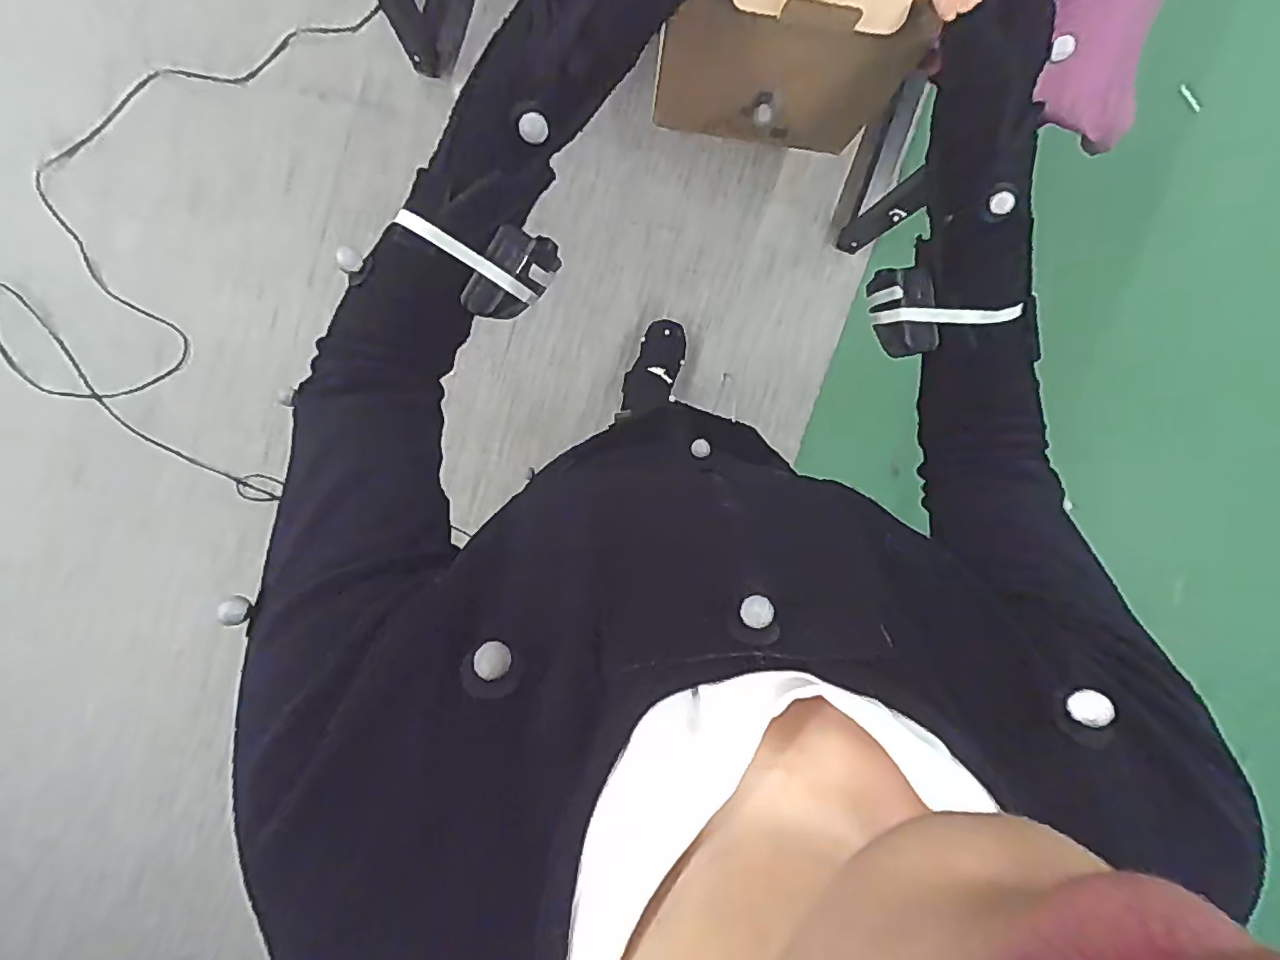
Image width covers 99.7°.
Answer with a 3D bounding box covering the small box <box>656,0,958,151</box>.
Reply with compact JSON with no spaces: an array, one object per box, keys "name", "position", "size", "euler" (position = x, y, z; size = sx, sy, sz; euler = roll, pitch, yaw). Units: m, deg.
[{"name":"small box","position":[0.106,-0.370,0.373],"size":[0.168,0.176,0.179],"euler":[7,95,-4]}]
